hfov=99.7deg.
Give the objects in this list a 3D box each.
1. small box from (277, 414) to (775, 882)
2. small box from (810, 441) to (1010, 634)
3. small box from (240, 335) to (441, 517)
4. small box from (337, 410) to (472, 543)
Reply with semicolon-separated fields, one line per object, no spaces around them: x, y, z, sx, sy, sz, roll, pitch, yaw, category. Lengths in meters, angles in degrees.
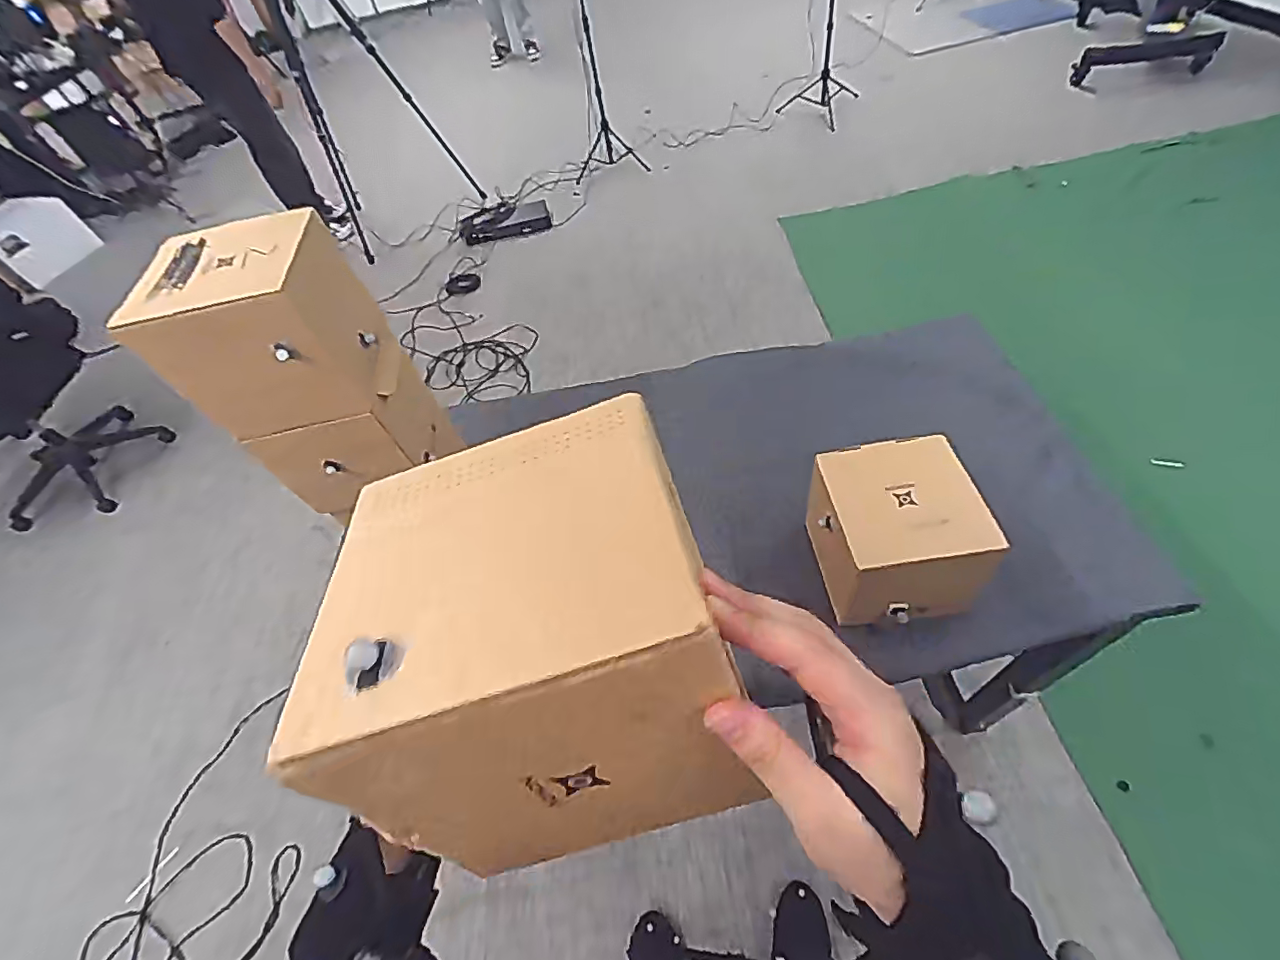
-0.045;0.089;0.304;0.179;0.168;0.176;-20;40;6;small box
0.329;0.078;0.706;0.168;0.176;0.179;-10;51;5;small box
-0.399;-0.070;0.761;0.179;0.176;0.168;-13;53;2;small box
-0.376;0.015;0.902;0.168;0.176;0.179;-13;53;1;small box
